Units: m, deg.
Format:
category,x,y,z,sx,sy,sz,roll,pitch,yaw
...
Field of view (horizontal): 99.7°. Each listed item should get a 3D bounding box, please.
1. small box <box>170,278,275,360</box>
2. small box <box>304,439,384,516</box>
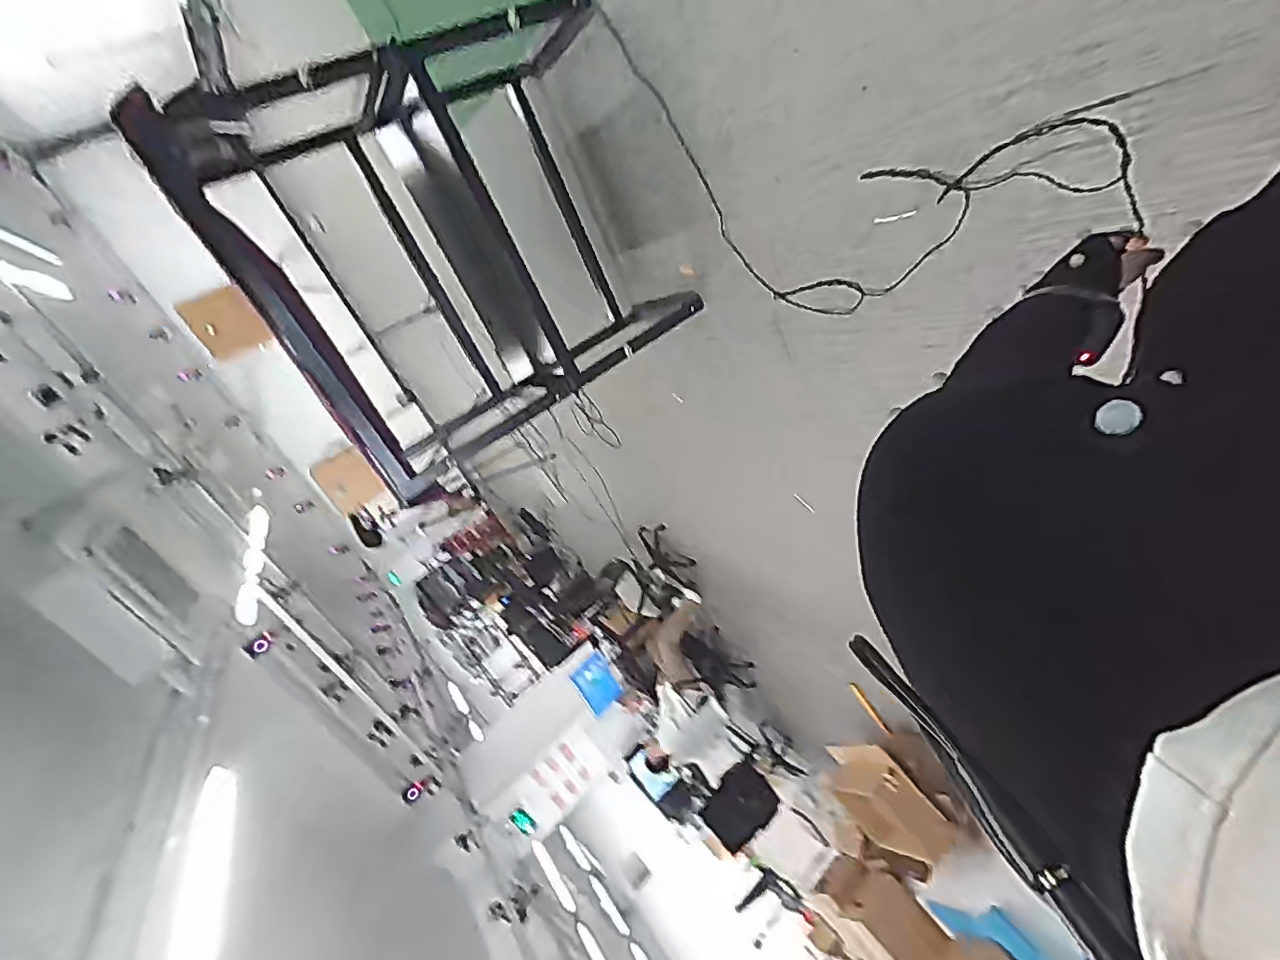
category,x,y,z,sx,sy,sz,roll,pitch,yaw
small box,-1.203,-0.471,1.574,0.168,0.176,0.179,14,137,59
small box,-0.983,-0.012,1.801,0.168,0.176,0.179,17,137,56
